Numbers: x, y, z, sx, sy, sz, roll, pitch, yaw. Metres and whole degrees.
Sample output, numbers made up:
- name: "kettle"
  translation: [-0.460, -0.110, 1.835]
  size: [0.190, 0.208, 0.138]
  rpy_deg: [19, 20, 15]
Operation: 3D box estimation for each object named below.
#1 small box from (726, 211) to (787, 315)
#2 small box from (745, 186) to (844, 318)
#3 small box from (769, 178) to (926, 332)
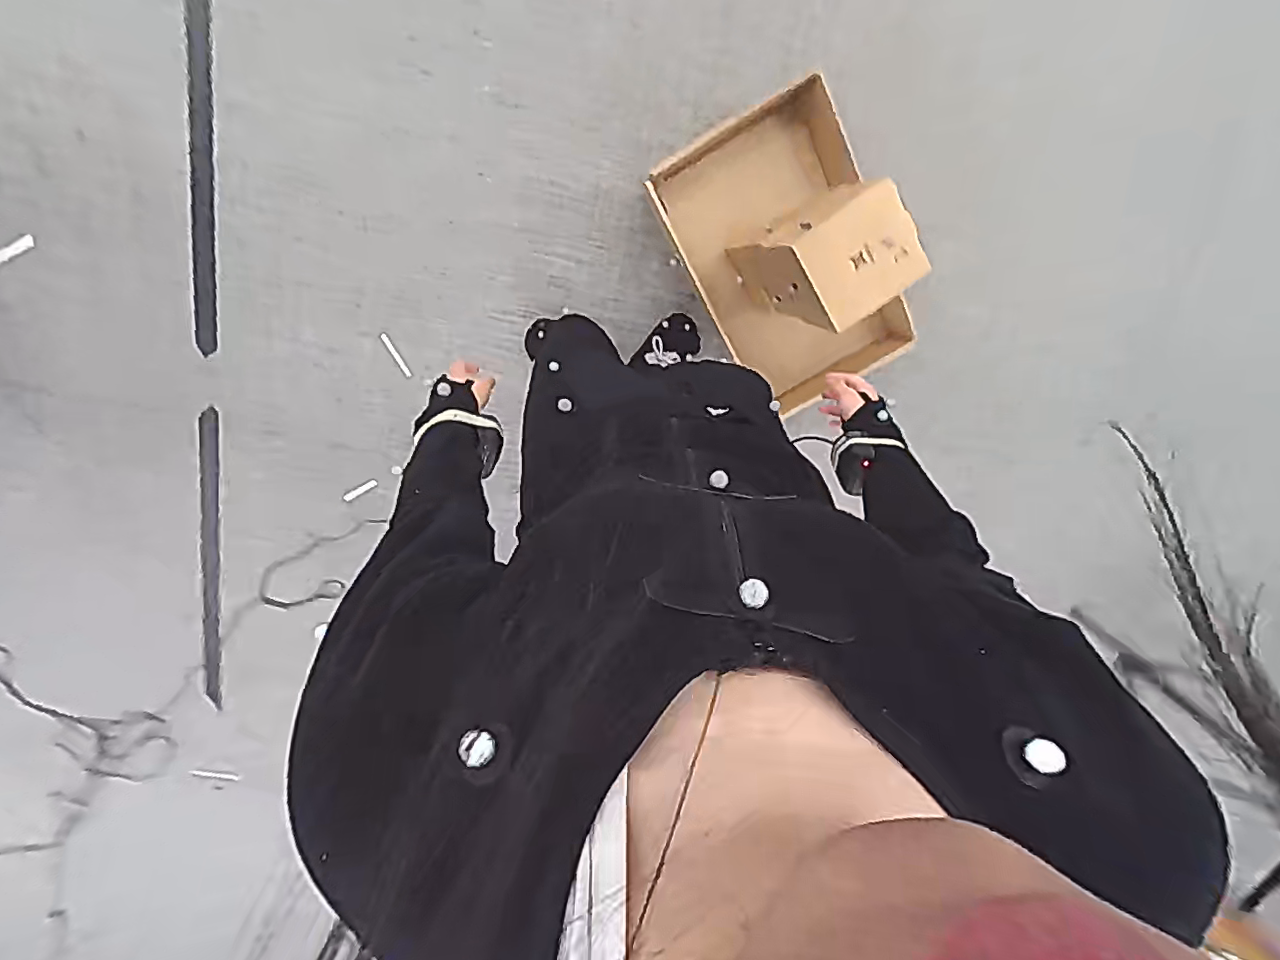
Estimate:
- name: "small box"
  translation: [0.318, -0.500, 1.231]
  size: [0.179, 0.176, 0.168]
  rpy_deg: [-29, 111, 8]
- name: "small box"
  translation: [0.328, -0.447, 1.079]
  size: [0.179, 0.176, 0.168]
  rpy_deg: [-34, 111, 8]
- name: "small box"
  translation: [0.341, -0.380, 0.927]
  size: [0.179, 0.176, 0.168]
  rpy_deg: [-33, 112, 9]
